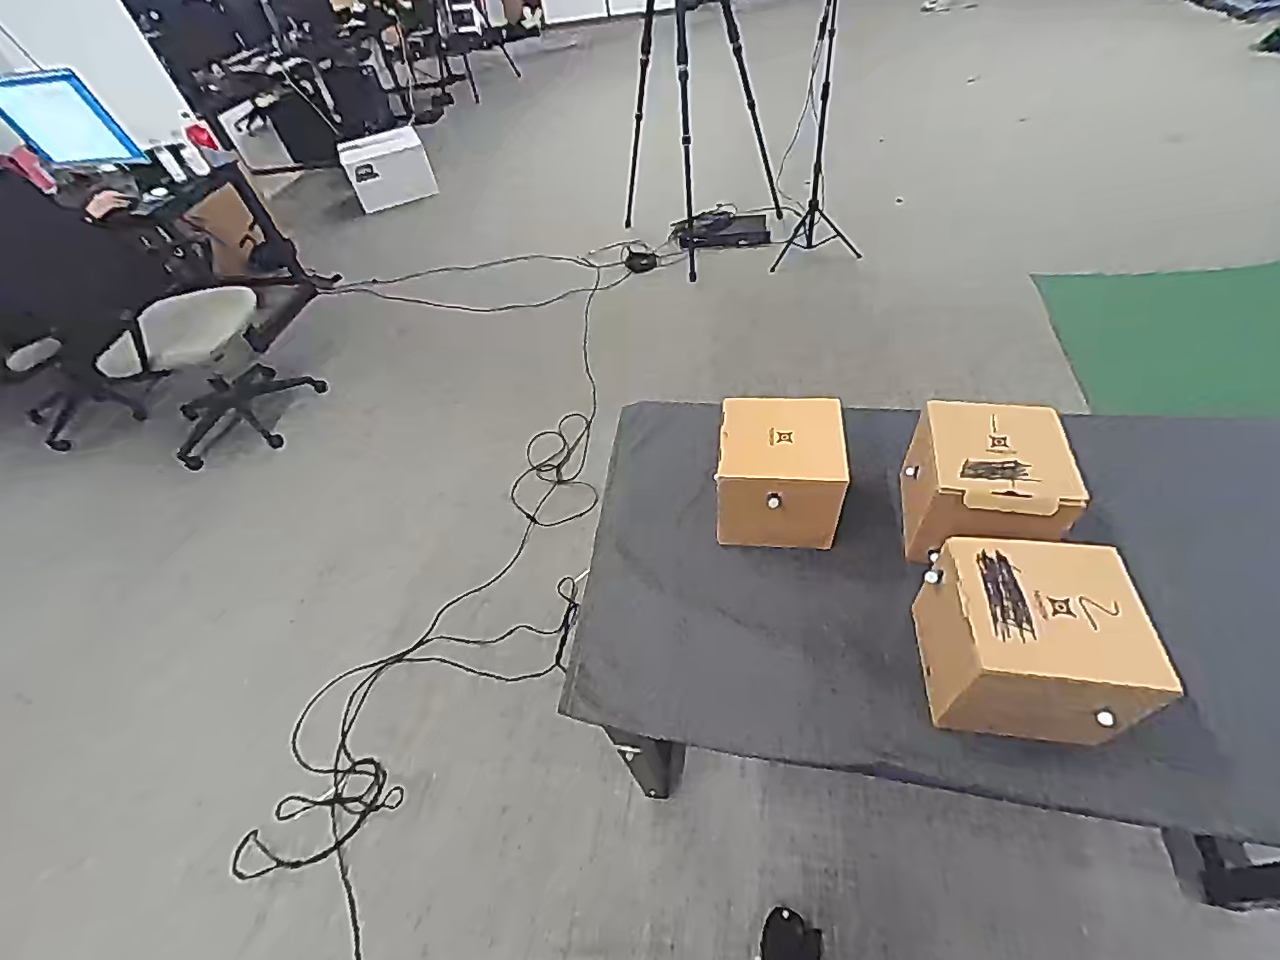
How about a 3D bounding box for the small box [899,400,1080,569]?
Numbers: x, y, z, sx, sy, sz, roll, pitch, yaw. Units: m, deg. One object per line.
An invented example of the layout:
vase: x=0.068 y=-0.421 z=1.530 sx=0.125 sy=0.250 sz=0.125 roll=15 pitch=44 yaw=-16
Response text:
small box: x=0.481 y=0.008 z=0.778 sx=0.168 sy=0.176 sz=0.179 roll=6 pitch=51 yaw=15
